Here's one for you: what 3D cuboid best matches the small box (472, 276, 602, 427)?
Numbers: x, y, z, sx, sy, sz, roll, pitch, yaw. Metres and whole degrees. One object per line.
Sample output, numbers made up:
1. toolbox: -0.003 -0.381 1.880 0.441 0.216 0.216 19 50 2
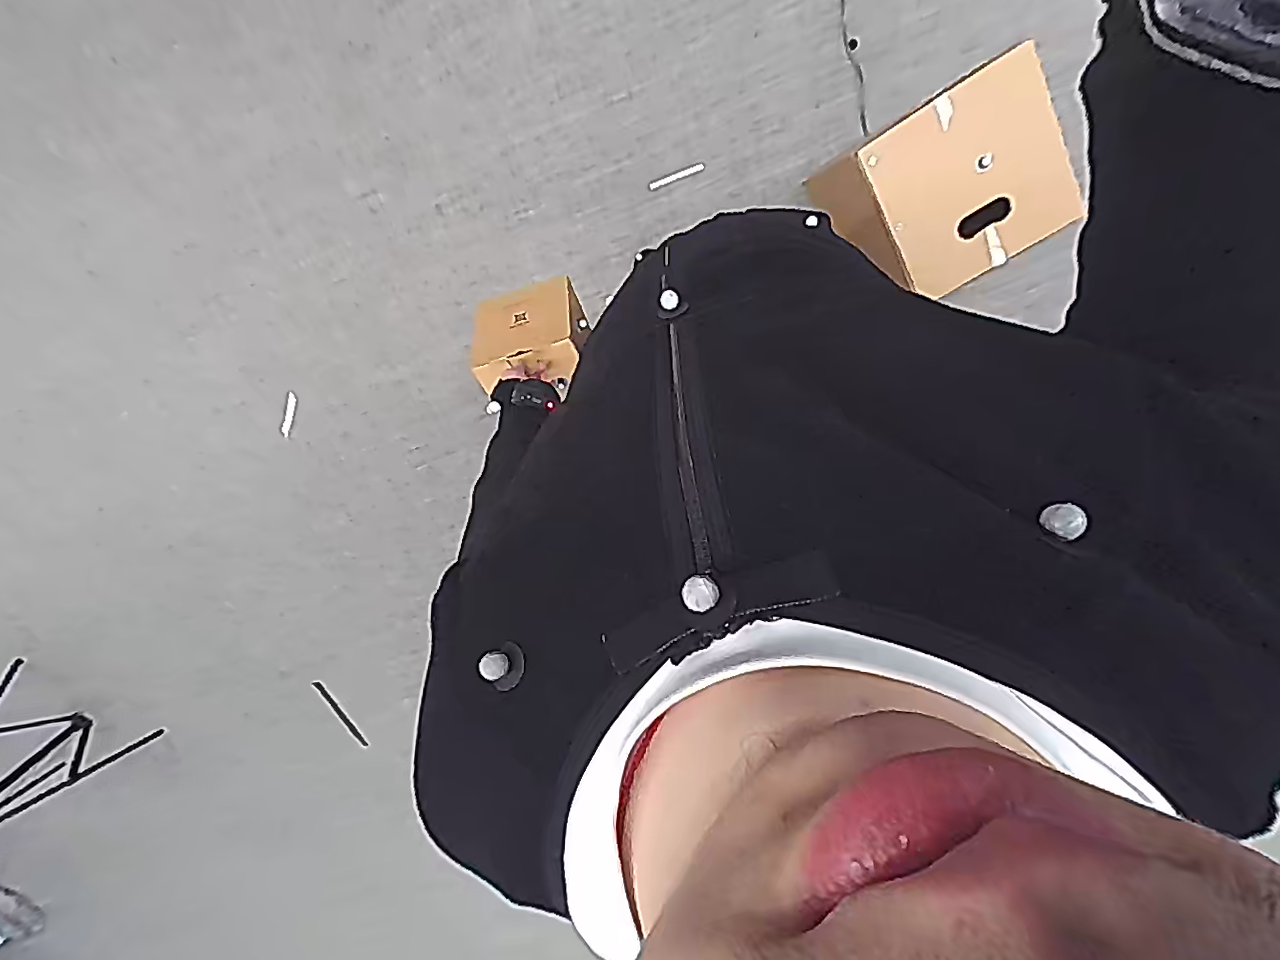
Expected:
1. small box: -0.169 -0.210 0.933 0.168 0.179 0.176 -14 143 8
